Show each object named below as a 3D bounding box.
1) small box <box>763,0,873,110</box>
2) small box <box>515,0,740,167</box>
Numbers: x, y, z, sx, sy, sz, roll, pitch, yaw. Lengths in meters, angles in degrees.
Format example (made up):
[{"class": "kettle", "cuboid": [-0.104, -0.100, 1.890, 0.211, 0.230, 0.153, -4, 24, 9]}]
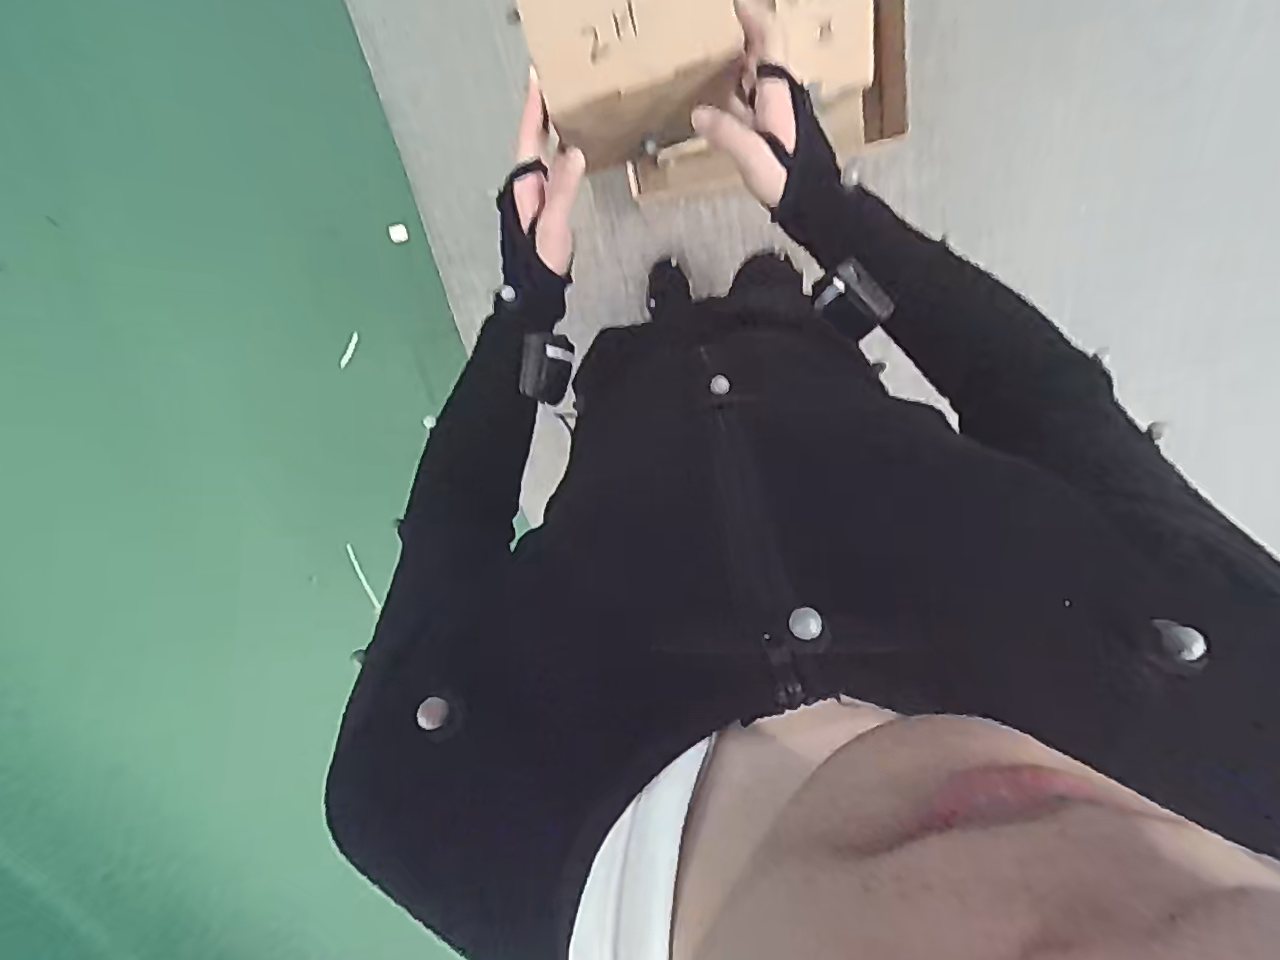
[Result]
[{"class": "small box", "cuboid": [0.330, -0.822, 1.020, 0.168, 0.176, 0.179, -7, 114, 8]}, {"class": "small box", "cuboid": [-0.020, -0.419, 0.485, 0.168, 0.176, 0.179, -15, 103, 6]}]
